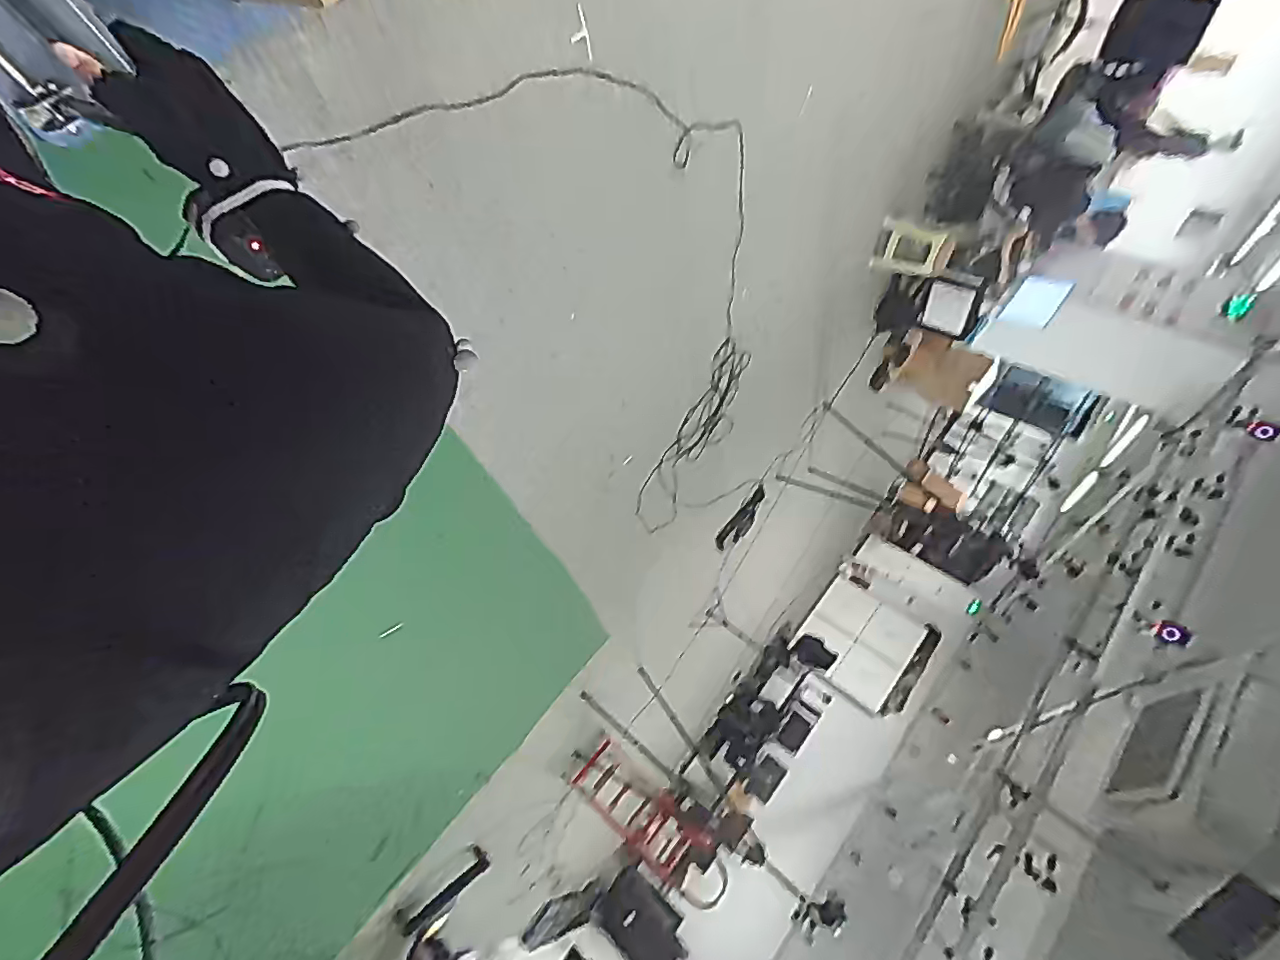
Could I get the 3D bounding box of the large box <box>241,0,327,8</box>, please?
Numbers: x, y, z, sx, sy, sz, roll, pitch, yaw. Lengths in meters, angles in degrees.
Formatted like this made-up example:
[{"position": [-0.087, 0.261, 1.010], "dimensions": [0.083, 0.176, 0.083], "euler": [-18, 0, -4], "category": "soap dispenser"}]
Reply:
[{"position": [-0.514, -0.924, 0.690], "dimensions": [0.320, 0.320, 0.408], "euler": [-51, 148, -14], "category": "large box"}]
